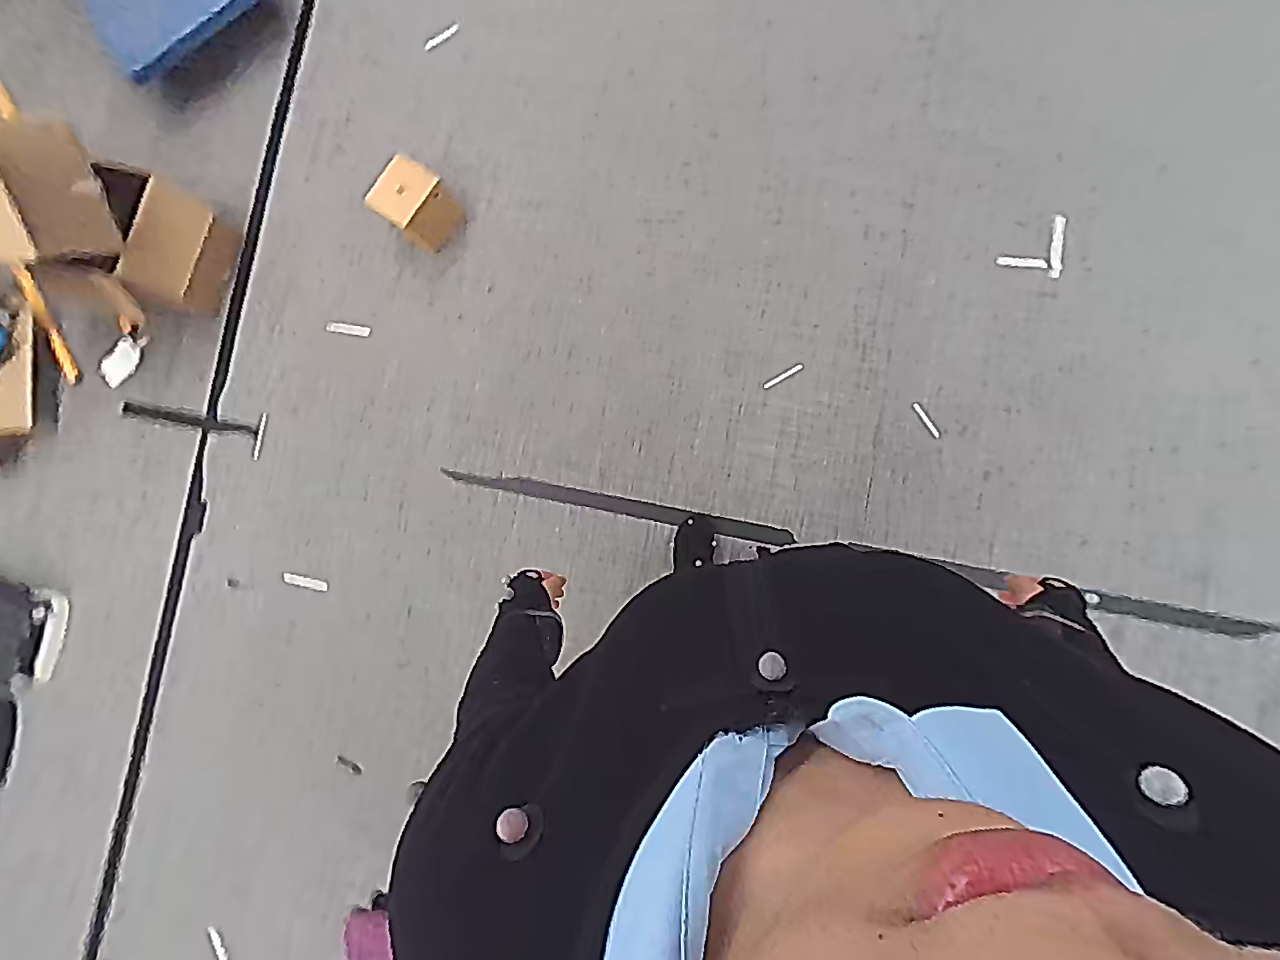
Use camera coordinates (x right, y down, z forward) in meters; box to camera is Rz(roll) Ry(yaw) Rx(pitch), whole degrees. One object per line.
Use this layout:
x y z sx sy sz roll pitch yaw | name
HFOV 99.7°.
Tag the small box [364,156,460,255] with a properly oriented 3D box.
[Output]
-0.680 -0.821 1.636 0.168 0.176 0.179 35 90 10 | small box
